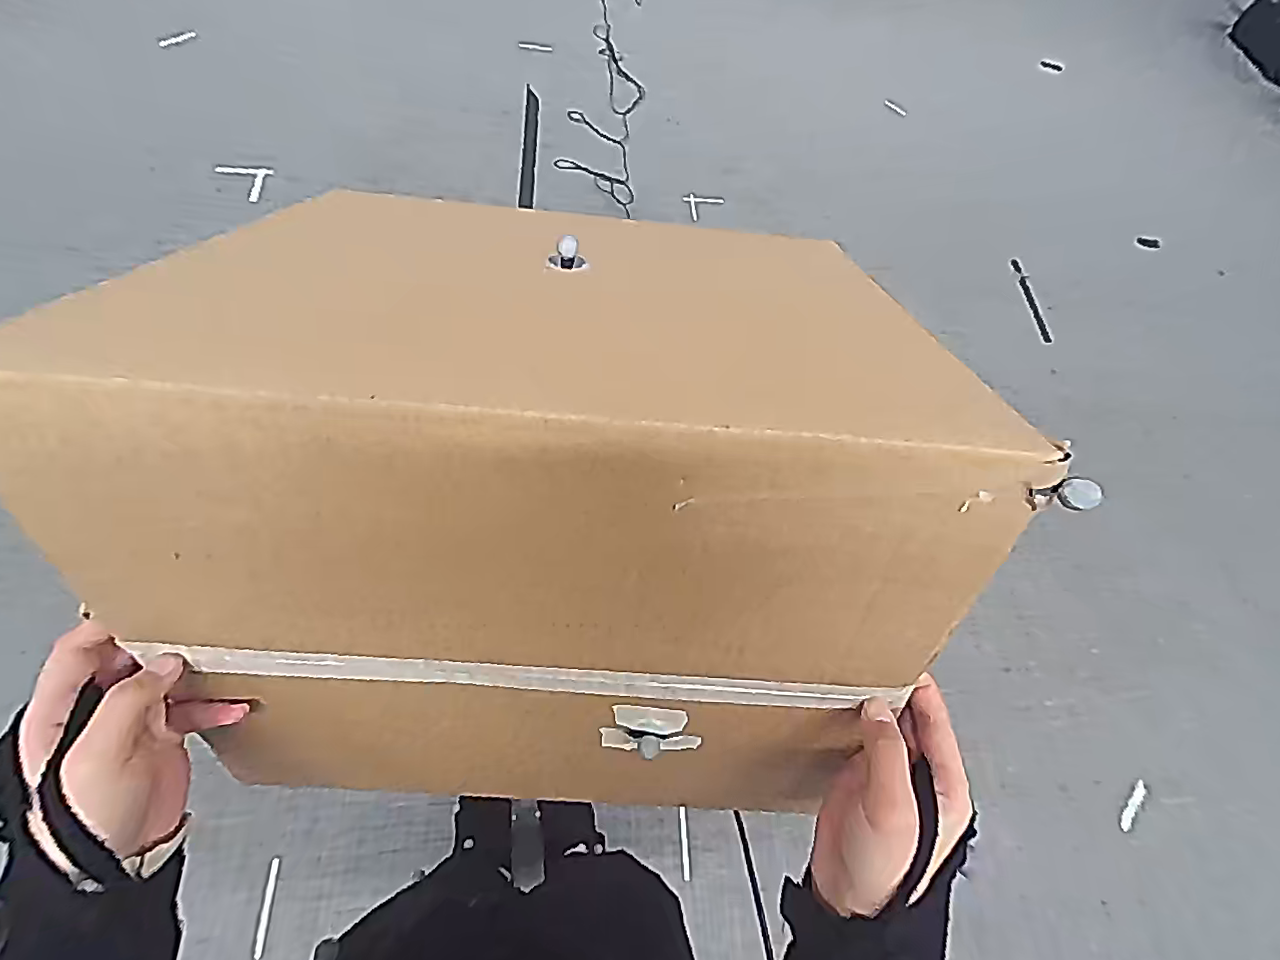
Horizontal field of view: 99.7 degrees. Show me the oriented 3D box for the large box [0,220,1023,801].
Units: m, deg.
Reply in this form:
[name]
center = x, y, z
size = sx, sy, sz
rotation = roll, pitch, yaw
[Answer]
[large box]
center = -0.057, 0.009, 0.411
size = 0.408, 0.320, 0.320
rotation = 4, 38, -2
